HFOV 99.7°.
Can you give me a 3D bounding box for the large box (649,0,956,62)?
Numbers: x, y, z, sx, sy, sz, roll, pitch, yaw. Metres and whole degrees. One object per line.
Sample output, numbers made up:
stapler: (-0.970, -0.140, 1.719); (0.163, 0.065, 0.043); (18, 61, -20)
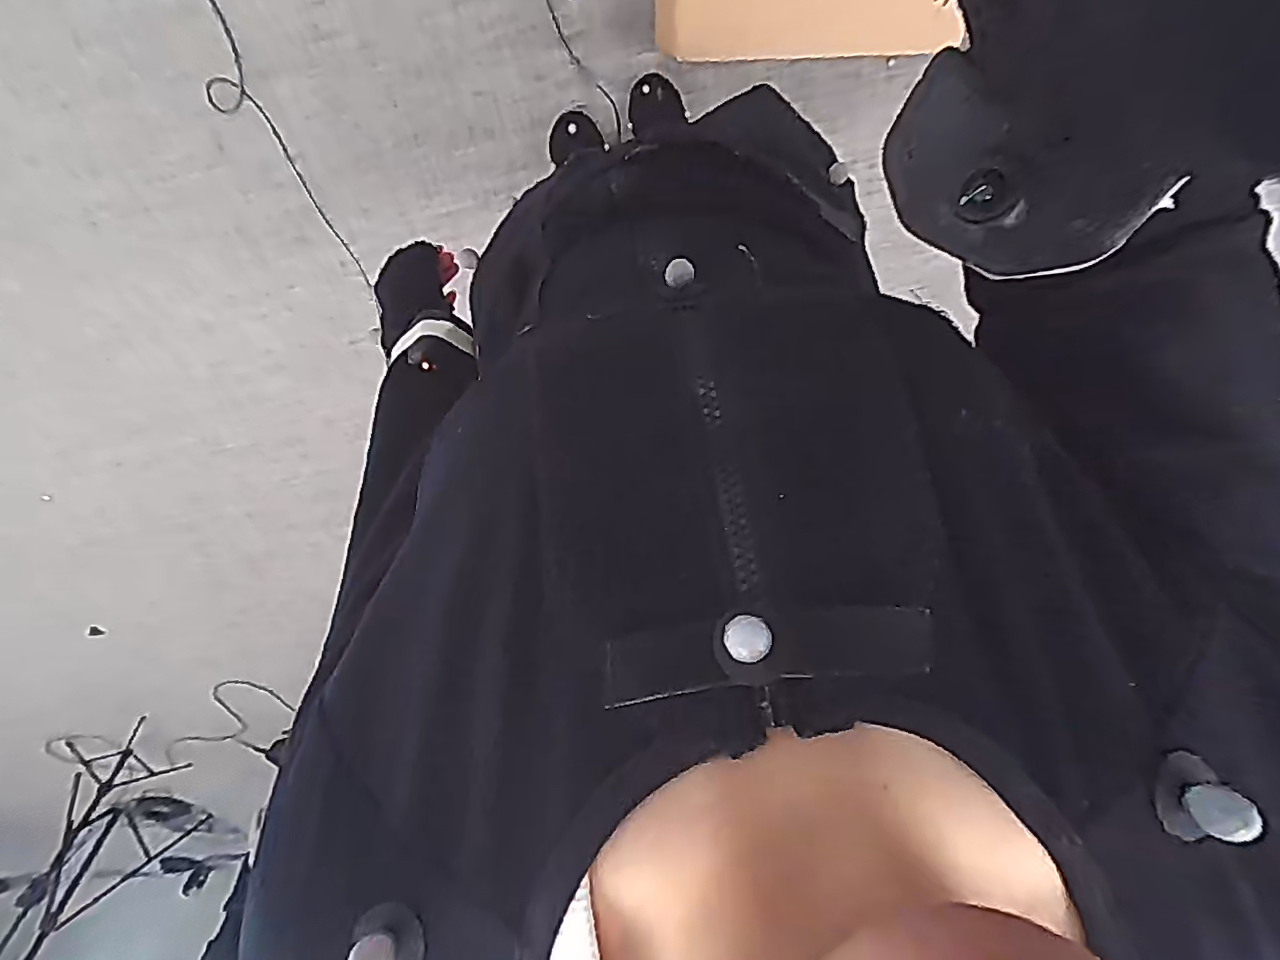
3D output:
large box: (0.223, -0.815, 0.778); (0.408, 0.320, 0.320); (-3, 130, -2)
